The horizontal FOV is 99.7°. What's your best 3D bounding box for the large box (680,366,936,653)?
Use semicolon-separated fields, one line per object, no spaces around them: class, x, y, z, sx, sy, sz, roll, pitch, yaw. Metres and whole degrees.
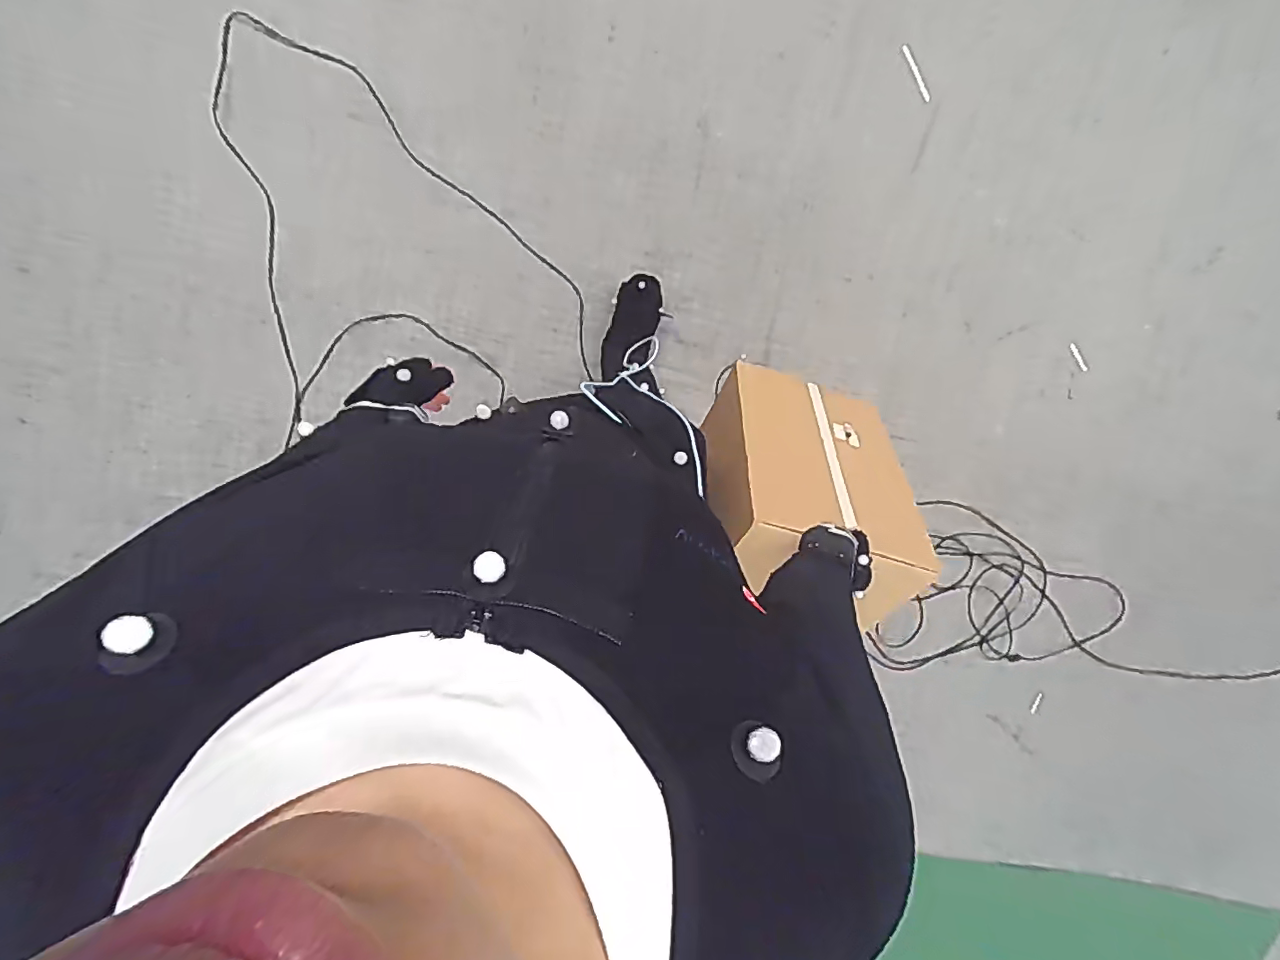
large box;0.270;0.057;1.027;0.320;0.408;0.320;17;134;-11
